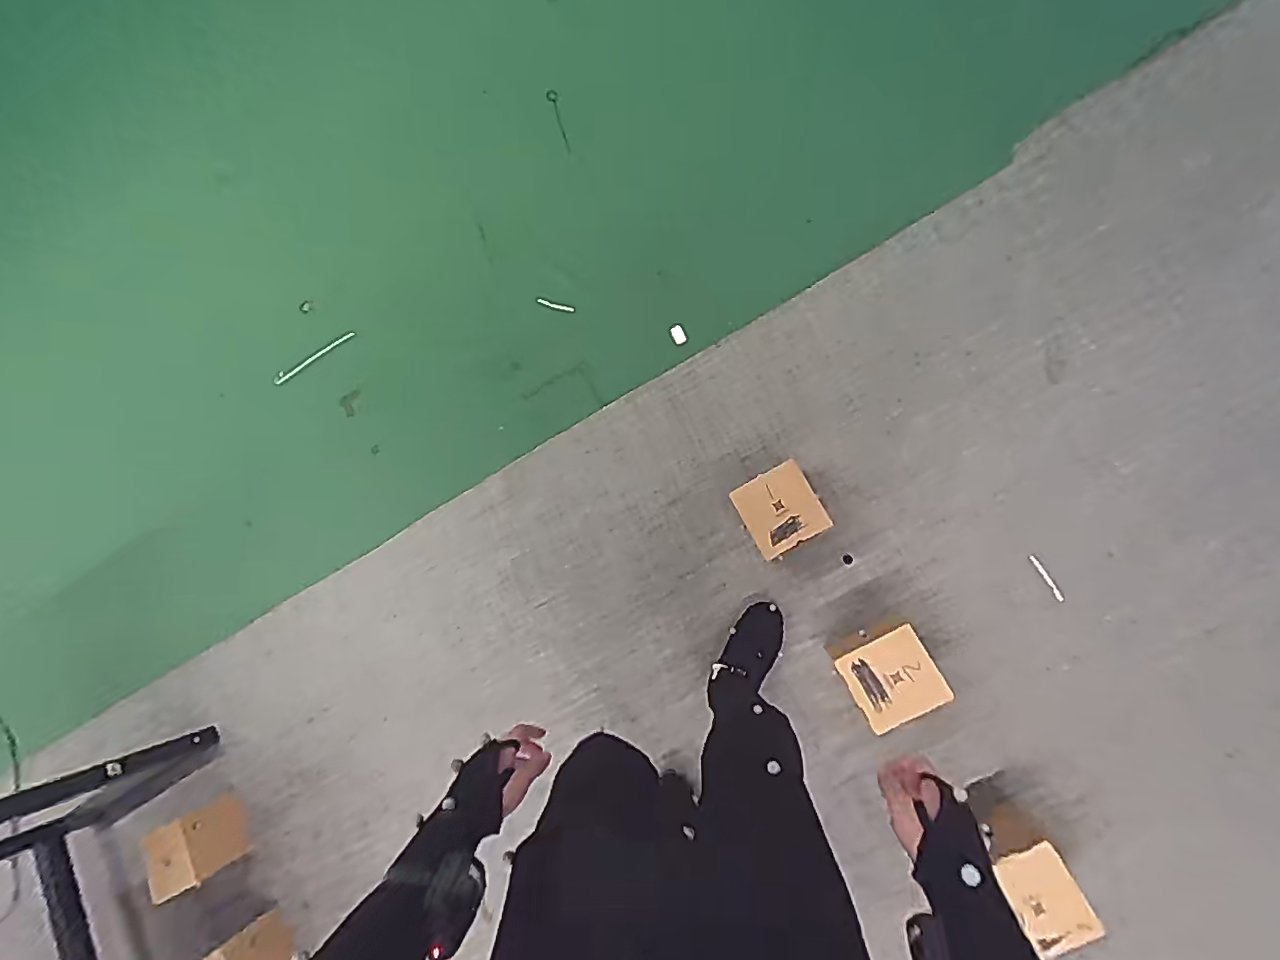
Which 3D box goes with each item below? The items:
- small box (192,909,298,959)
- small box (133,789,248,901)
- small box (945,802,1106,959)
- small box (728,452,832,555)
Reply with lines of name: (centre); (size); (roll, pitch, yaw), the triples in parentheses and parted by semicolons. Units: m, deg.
small box: (-1.067, 1.297, 1.439); (0.168, 0.176, 0.179); (-38, 78, 7)
small box: (-1.247, 1.011, 1.512); (0.168, 0.176, 0.179); (-30, 78, 8)
small box: (0.750, 0.781, 1.080); (0.168, 0.176, 0.179); (-30, 78, 8)
small box: (0.322, 0.058, 1.258); (0.168, 0.176, 0.179); (-30, 77, 8)
